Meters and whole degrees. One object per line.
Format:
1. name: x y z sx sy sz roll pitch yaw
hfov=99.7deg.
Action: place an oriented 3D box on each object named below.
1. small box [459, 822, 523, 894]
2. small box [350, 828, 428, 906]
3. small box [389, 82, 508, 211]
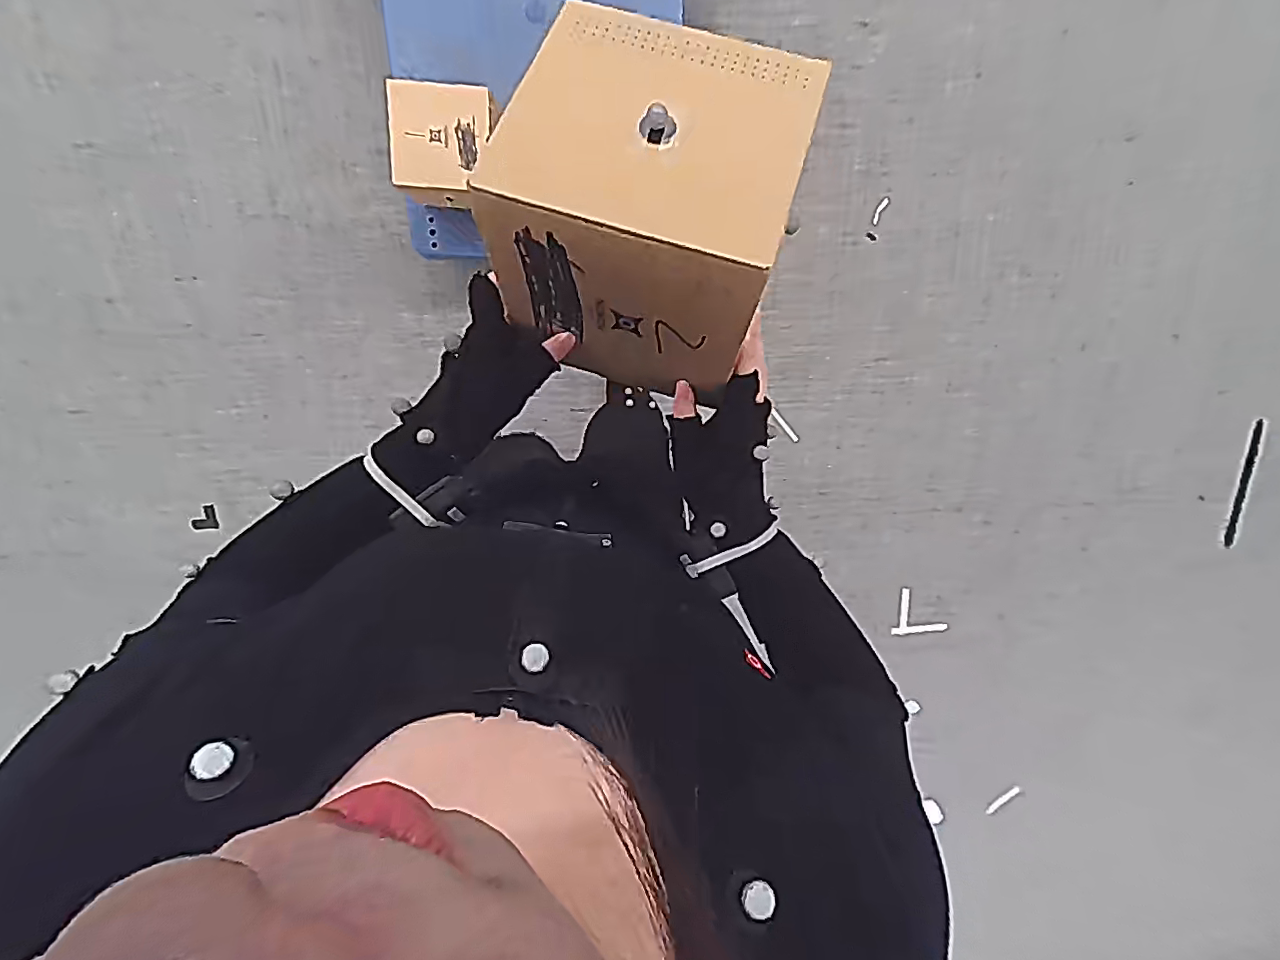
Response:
1. small box: -0.478 1.252 1.754 0.168 0.176 0.179 0 106 -4
2. small box: -0.798 1.265 1.740 0.168 0.176 0.179 -4 106 -2
3. small box: -0.348 -0.615 1.019 0.179 0.176 0.168 3 106 -3
